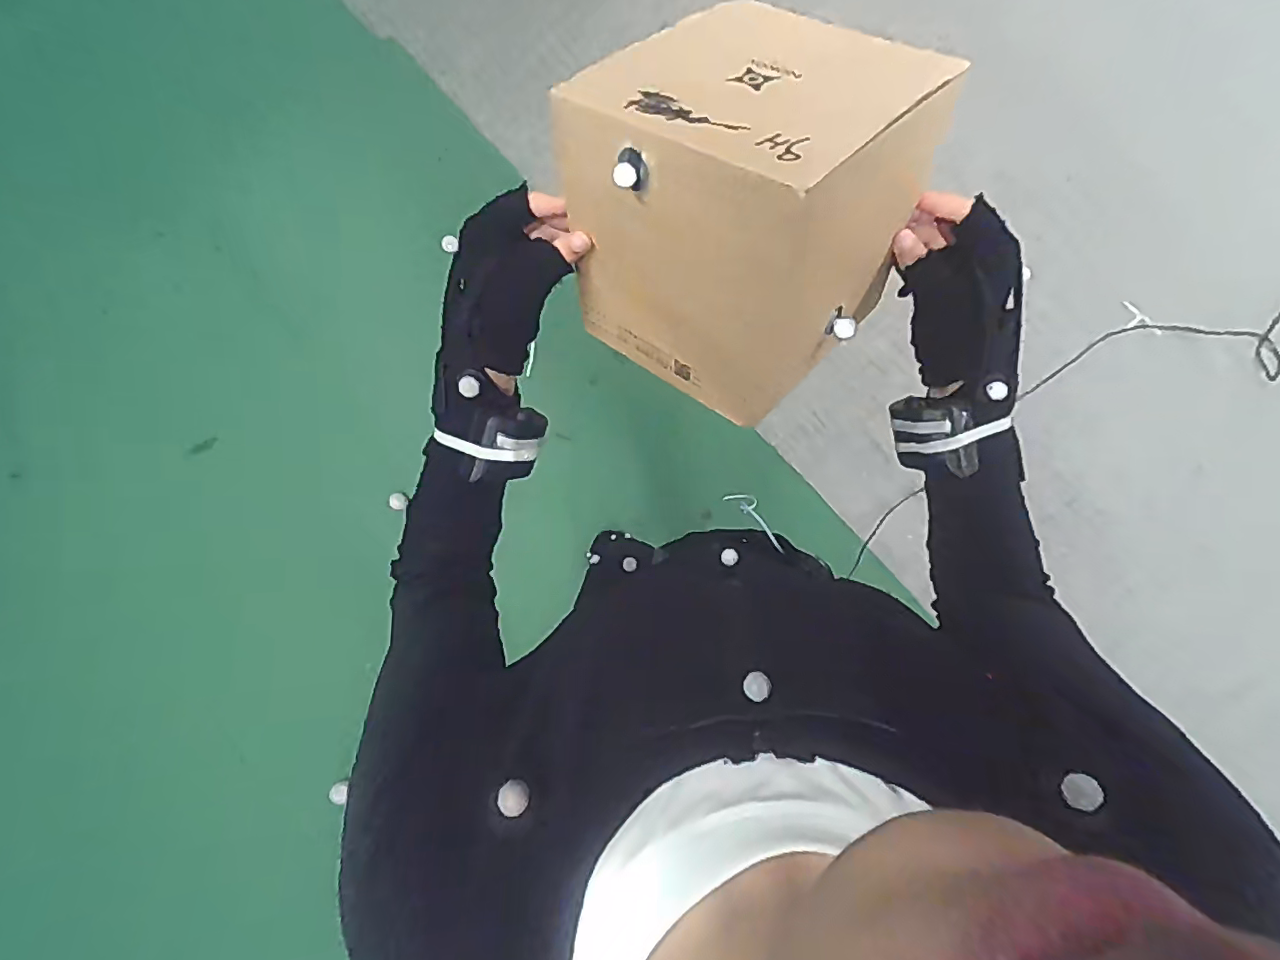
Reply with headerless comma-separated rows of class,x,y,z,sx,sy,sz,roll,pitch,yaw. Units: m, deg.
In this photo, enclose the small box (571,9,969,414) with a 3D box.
small box,0.075,-0.182,0.374,0.168,0.176,0.179,37,64,24
